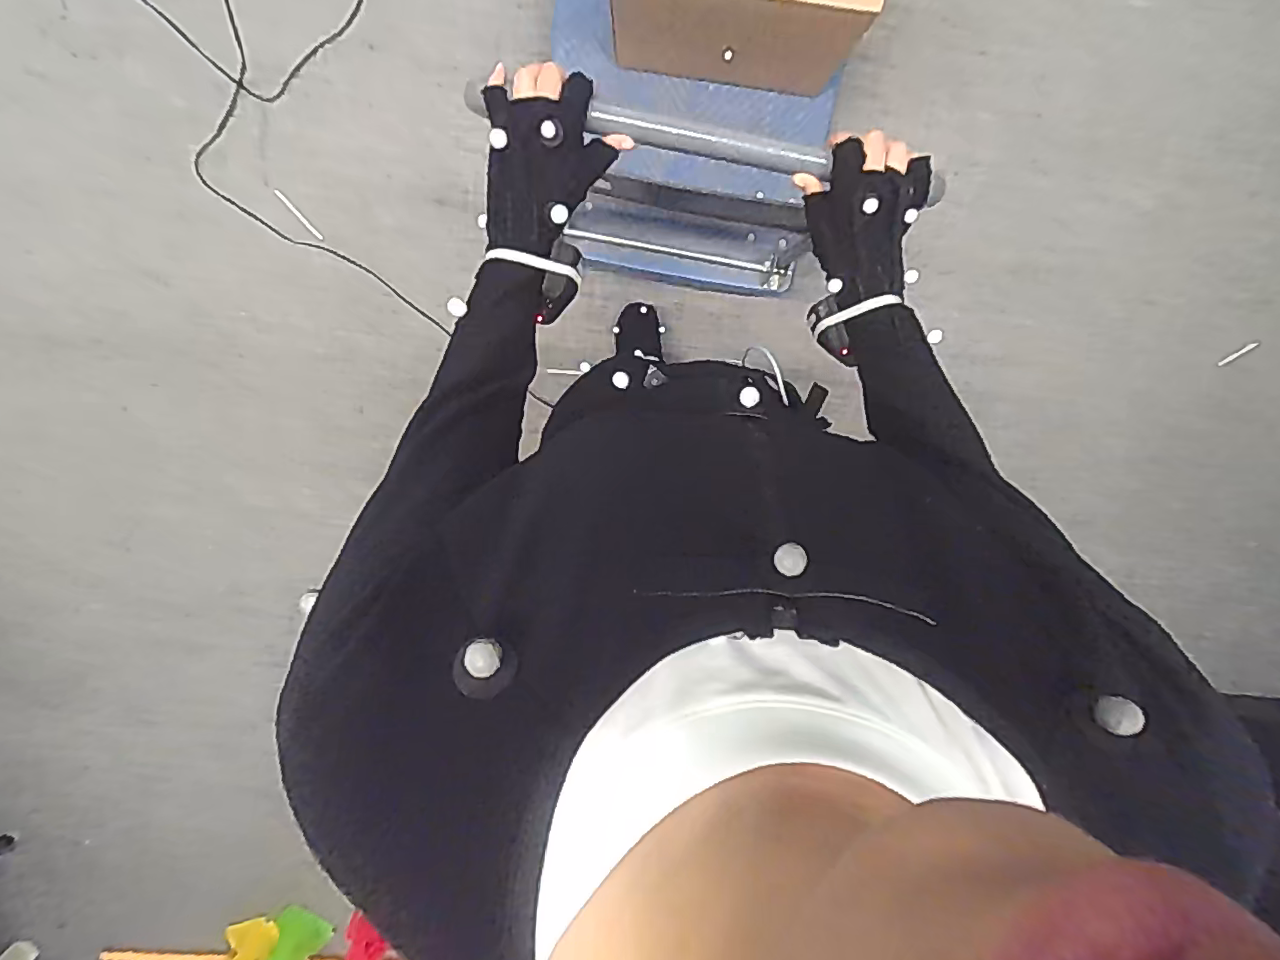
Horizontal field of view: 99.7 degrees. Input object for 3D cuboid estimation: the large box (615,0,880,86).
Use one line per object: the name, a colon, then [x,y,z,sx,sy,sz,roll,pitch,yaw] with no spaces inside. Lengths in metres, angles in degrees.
large box: [0.175,-0.906,0.893,0.408,0.320,0.320,7,105,-2]
